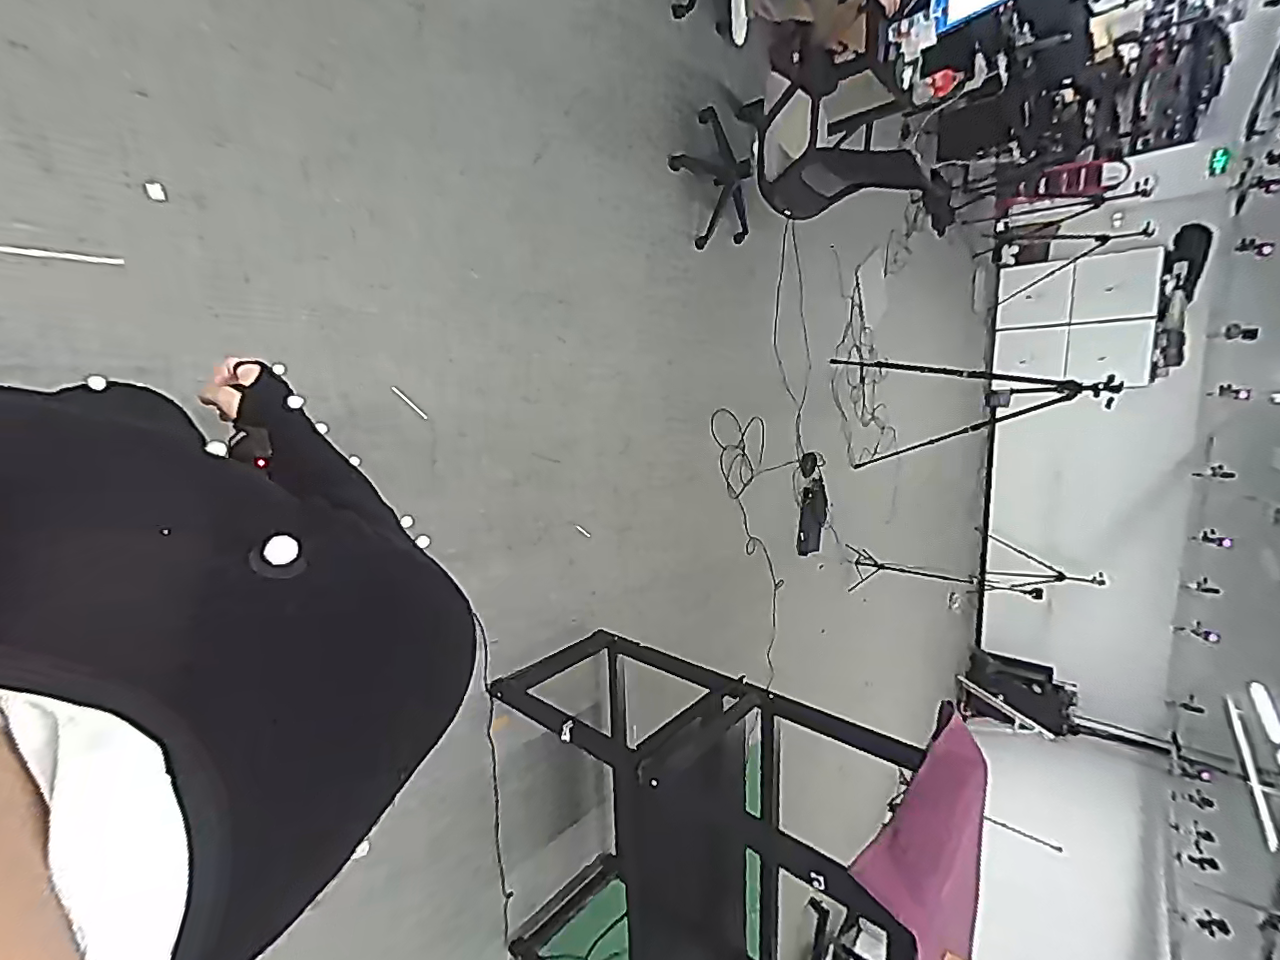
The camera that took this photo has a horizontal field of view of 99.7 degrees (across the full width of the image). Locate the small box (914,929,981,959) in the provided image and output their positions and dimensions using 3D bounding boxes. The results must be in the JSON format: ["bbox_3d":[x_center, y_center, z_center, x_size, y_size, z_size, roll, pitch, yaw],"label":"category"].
[{"bbox_3d":[0.671,1.127,1.152,0.179,0.176,0.168,-14,105,-49],"label":"small box"}]
